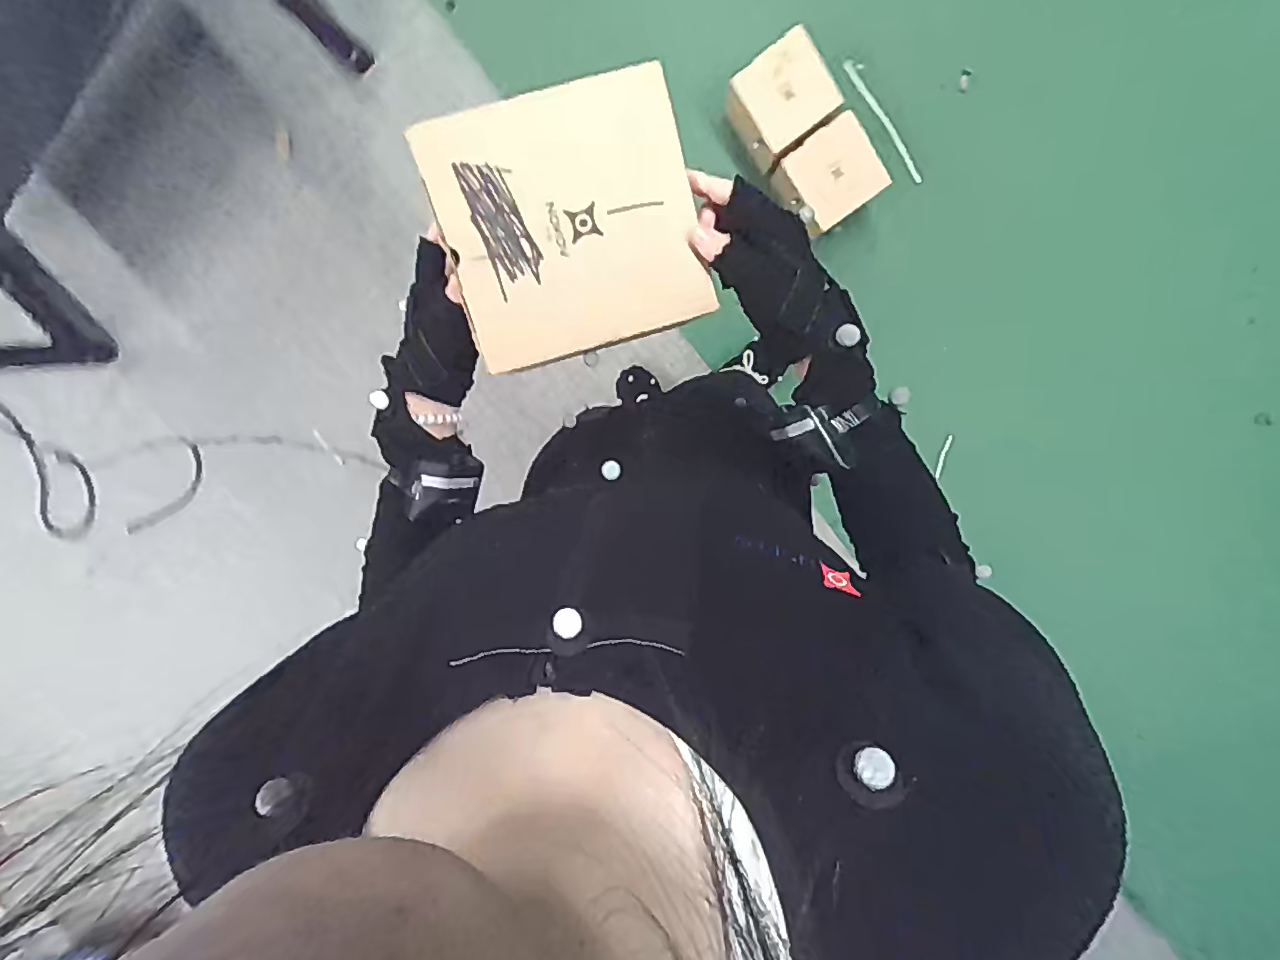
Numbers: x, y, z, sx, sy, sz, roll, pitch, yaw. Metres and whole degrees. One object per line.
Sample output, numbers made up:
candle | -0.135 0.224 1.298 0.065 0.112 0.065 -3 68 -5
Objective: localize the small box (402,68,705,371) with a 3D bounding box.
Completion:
small box | -0.063 -0.192 0.454 0.179 0.176 0.168 -17 103 -3
